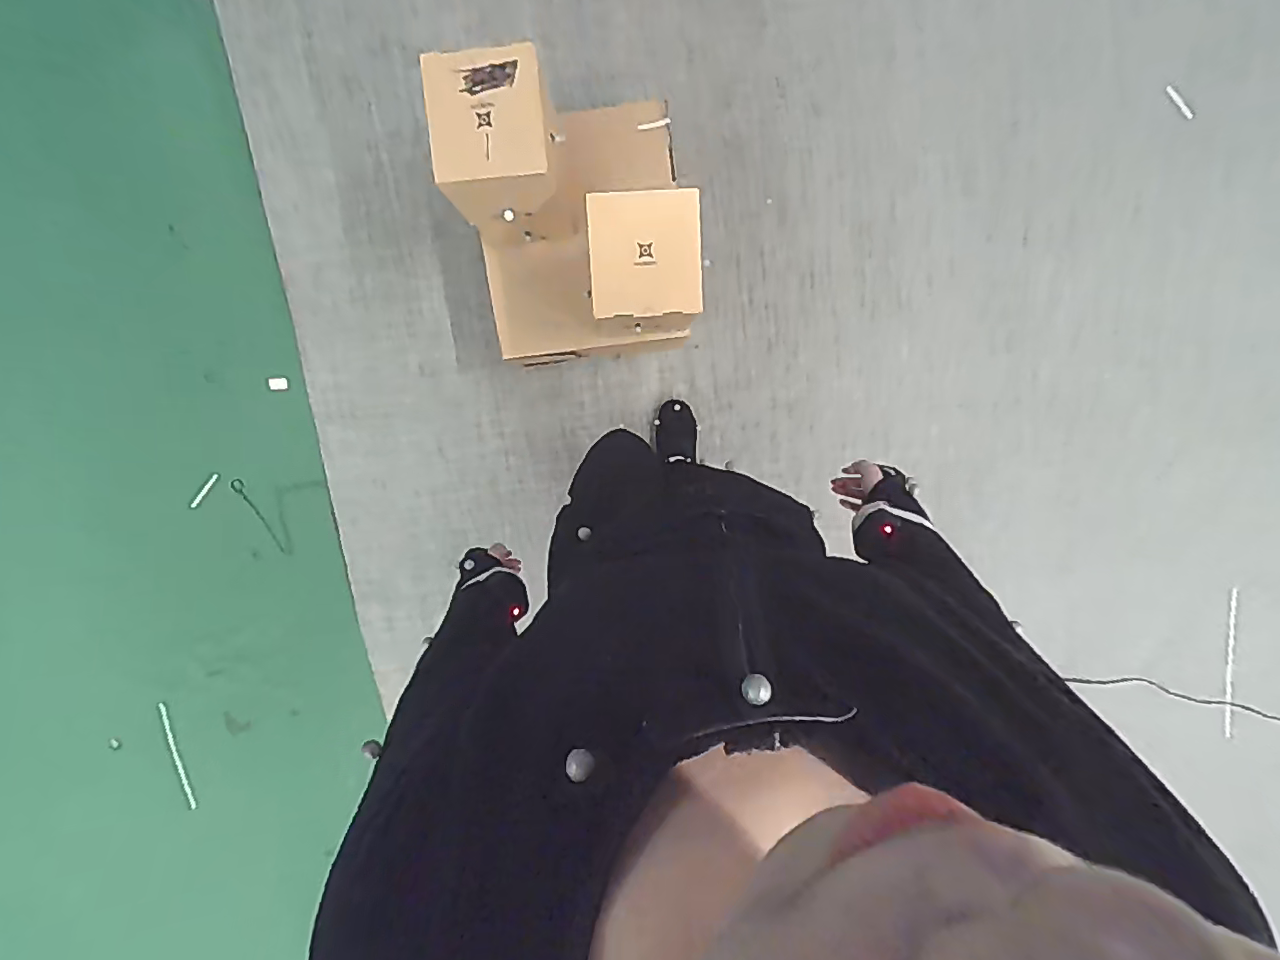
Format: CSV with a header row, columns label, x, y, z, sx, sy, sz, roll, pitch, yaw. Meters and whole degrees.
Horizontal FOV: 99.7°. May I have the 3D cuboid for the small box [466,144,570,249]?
label,x,y,z,sx,sy,sz,roll,pitch,yaw
small box,-0.230,-0.554,1.006,0.168,0.176,0.179,-7,96,1

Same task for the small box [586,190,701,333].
label,x,y,z,sx,sy,sz,roll,pitch,yaw
small box,0.002,-0.342,0.872,0.168,0.176,0.179,-4,99,-1

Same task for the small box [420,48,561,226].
label,x,y,z,sx,sy,sz,roll,pitch,yaw
small box,-0.222,-0.521,0.844,0.168,0.176,0.179,-5,97,1
